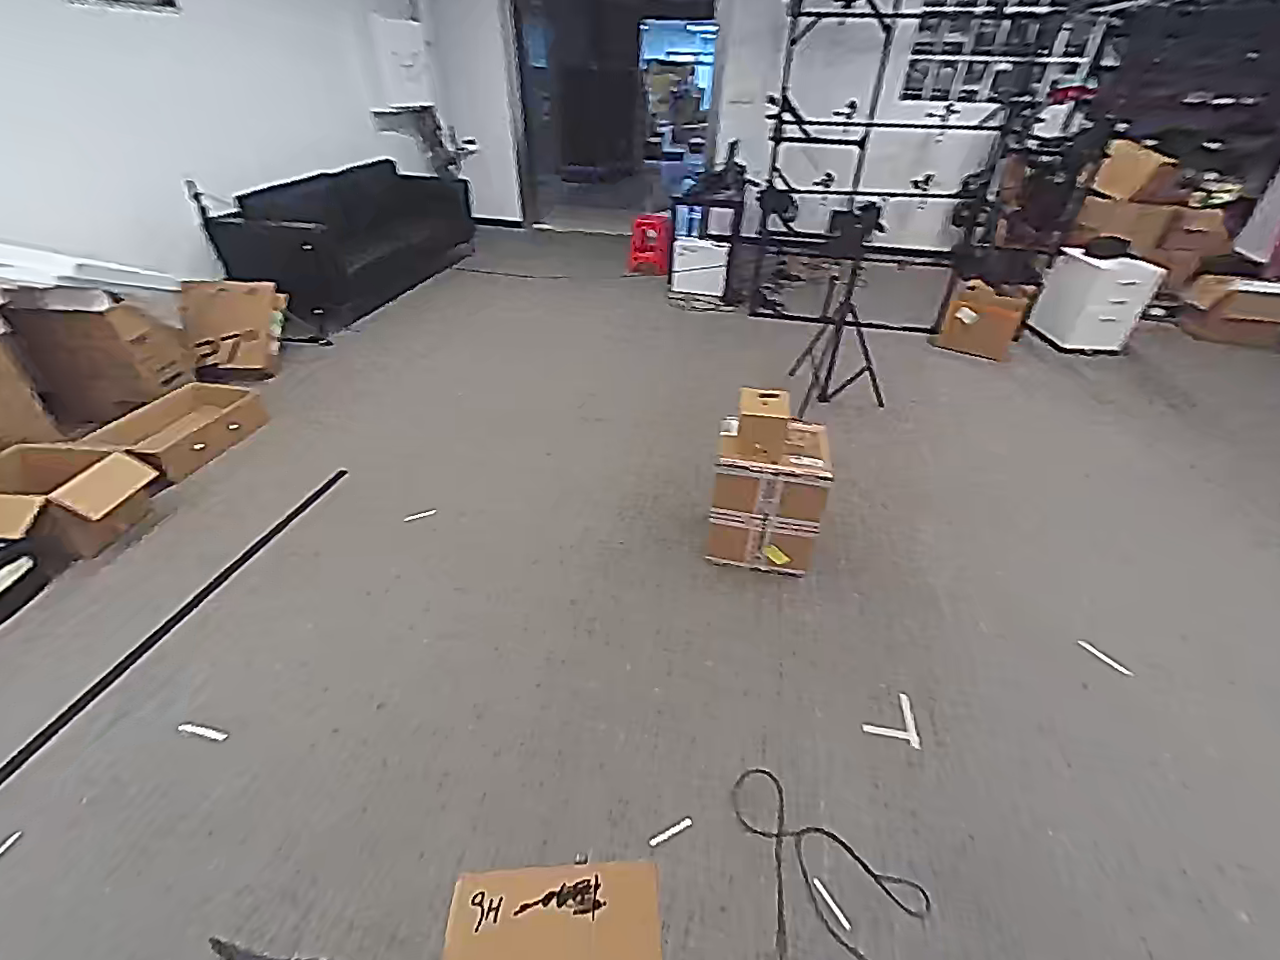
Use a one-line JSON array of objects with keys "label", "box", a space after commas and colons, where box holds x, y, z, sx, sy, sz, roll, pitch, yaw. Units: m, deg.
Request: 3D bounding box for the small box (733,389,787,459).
[{"label": "small box", "box": [0.419, -0.197, 1.898, 0.168, 0.176, 0.179, 6, 41, 8]}]
